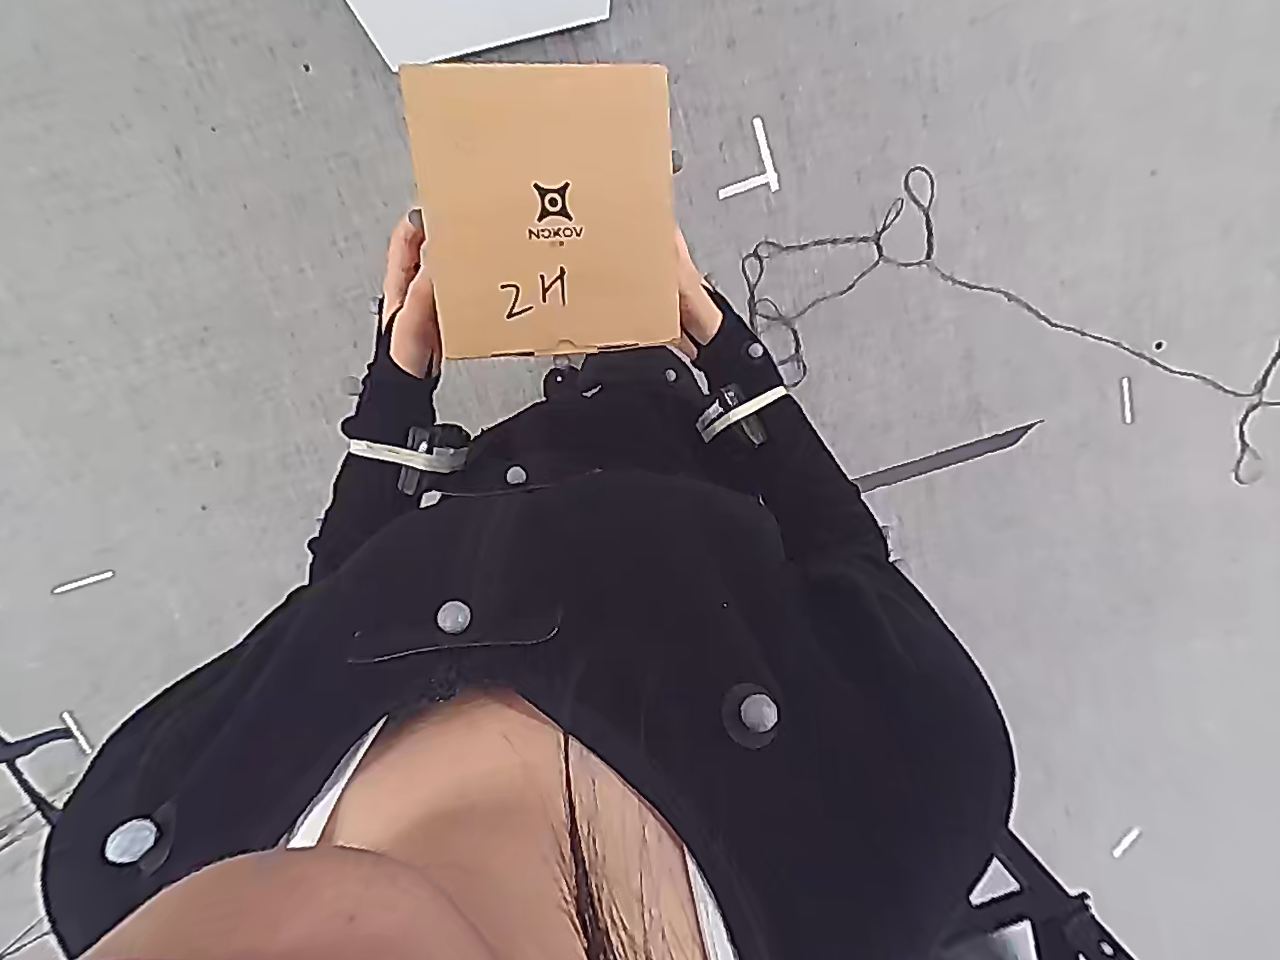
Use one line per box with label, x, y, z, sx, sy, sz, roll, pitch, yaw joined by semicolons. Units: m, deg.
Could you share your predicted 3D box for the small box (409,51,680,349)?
small box;-0.069;-0.199;0.432;0.168;0.176;0.179;-6;105;-8
